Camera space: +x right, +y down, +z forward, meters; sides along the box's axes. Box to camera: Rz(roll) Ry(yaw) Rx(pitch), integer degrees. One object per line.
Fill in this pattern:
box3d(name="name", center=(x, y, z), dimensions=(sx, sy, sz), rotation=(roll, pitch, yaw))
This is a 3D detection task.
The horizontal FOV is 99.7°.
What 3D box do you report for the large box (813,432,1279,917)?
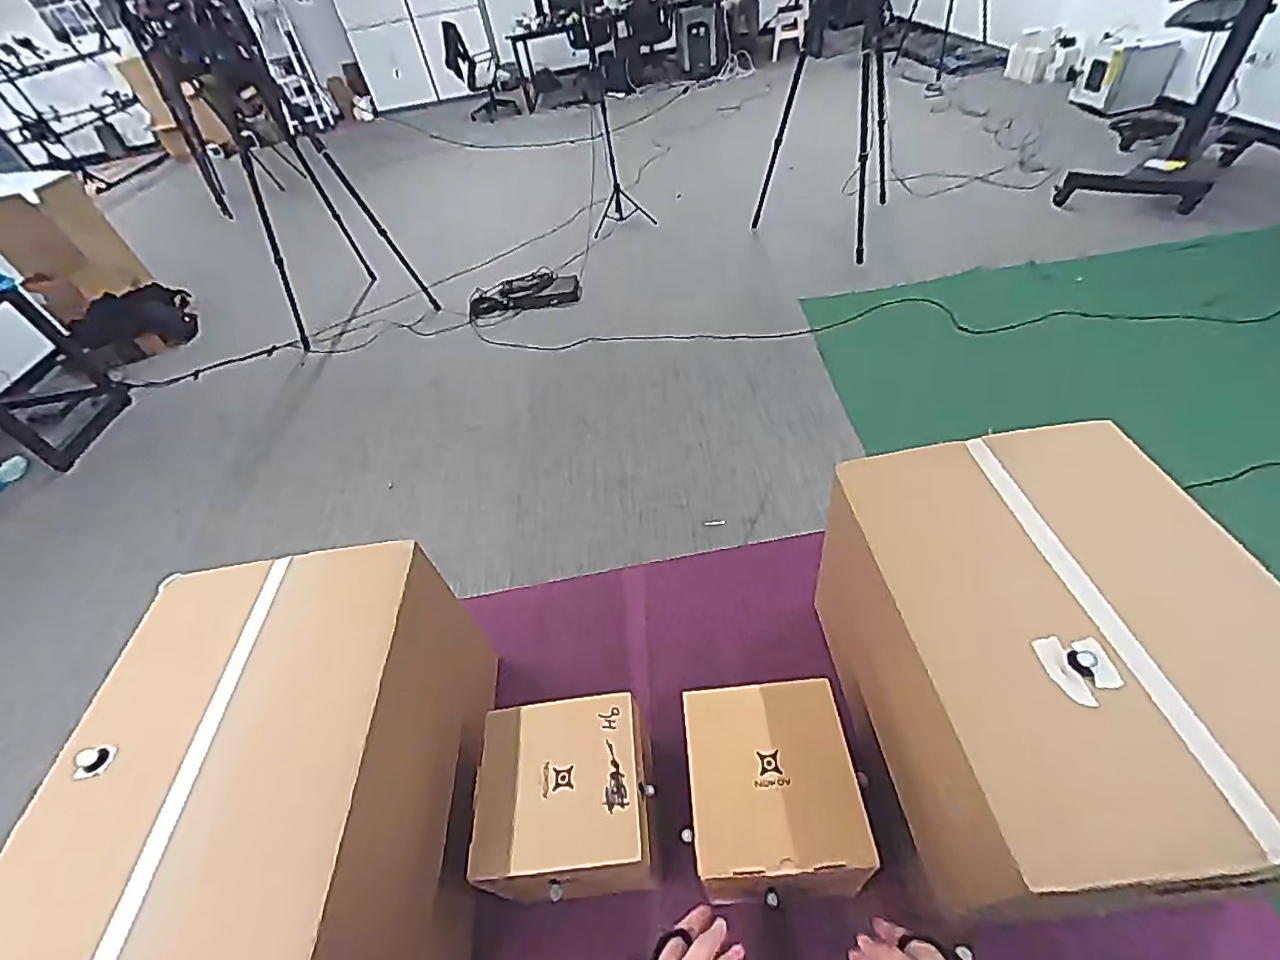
box3d(name="large box", center=(0.416, 0.206, 0.602), dimensions=(0.320, 0.320, 0.408), rotation=(-9, 47, 3))
